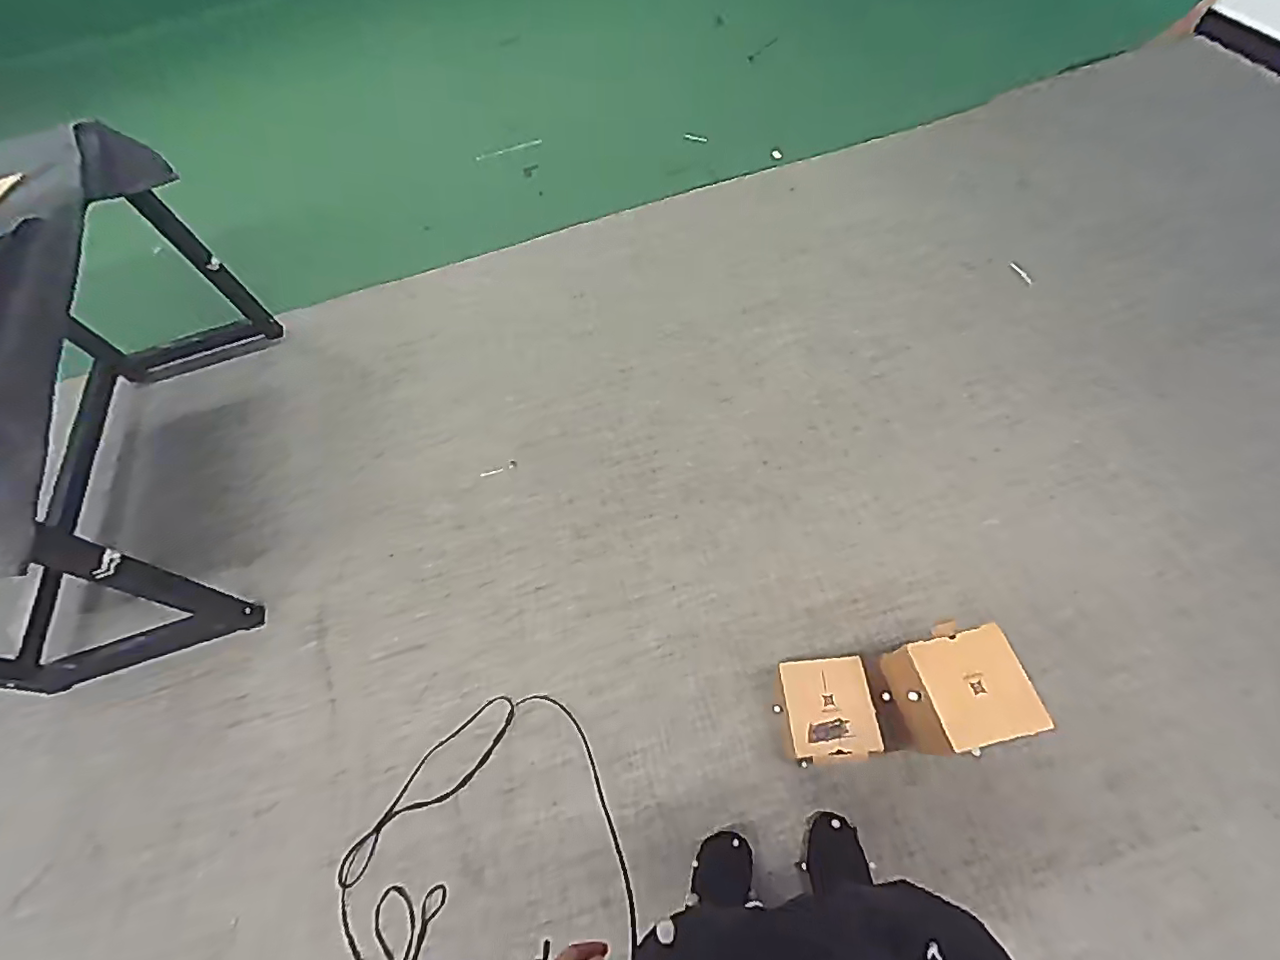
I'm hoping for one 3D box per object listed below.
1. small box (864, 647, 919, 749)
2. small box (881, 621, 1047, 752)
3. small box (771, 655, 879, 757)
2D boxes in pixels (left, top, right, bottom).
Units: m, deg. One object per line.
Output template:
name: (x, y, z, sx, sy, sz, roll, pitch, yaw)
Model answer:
small box: (0.589, 0.438, 1.115, 0.168, 0.176, 0.179, -14, 60, -1)
small box: (0.561, 0.375, 0.966, 0.168, 0.176, 0.179, -15, 60, 0)
small box: (0.374, 0.474, 1.124, 0.168, 0.176, 0.179, -6, 60, 4)
